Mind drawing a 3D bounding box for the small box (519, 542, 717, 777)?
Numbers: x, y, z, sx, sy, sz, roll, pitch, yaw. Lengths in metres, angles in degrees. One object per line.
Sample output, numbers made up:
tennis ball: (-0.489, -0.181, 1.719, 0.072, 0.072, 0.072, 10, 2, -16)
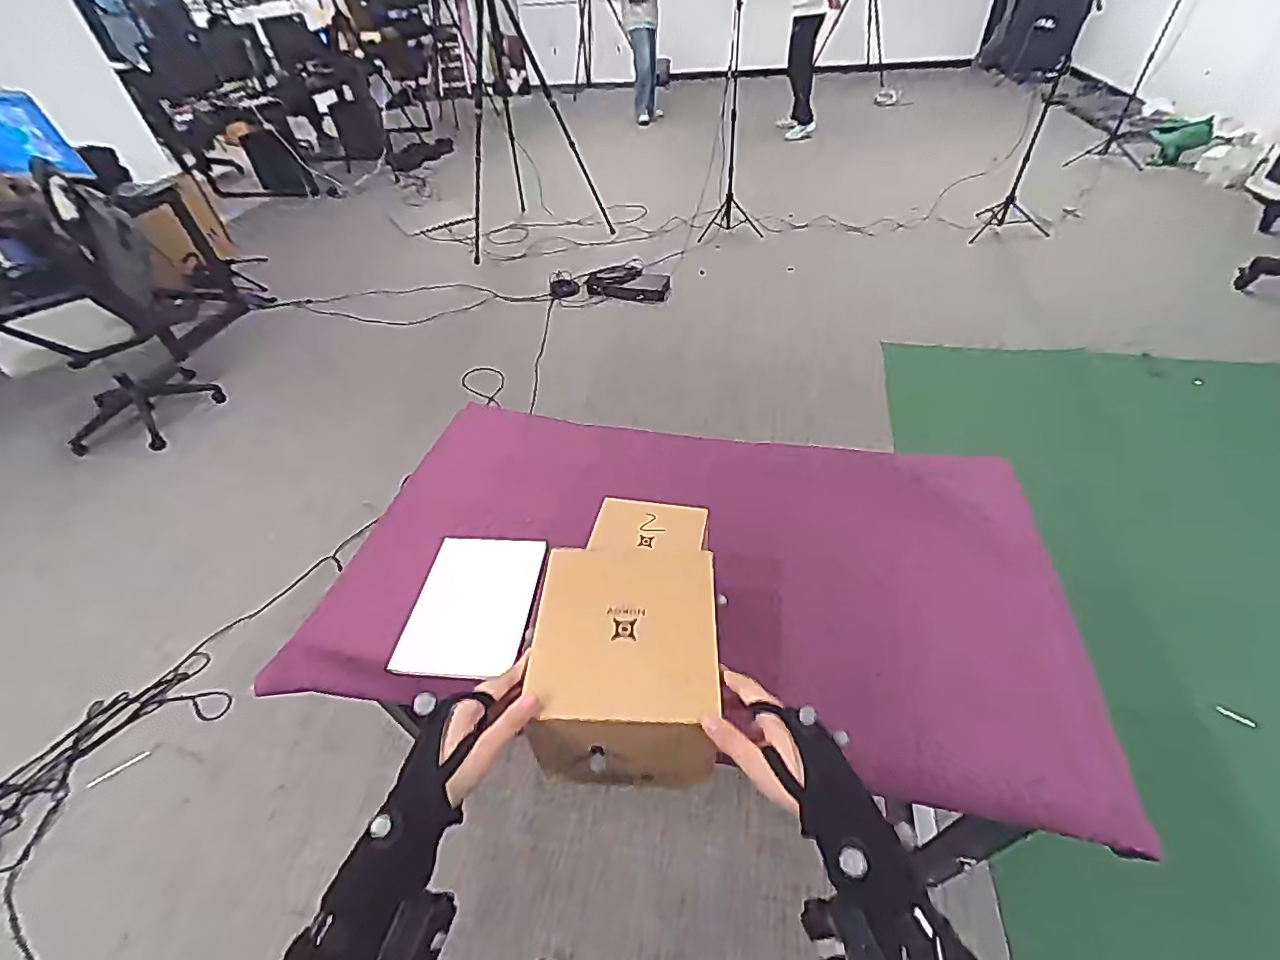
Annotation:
small box: (-0.012, 0.183, 0.549, 0.168, 0.176, 0.179, 1, 44, 2)
